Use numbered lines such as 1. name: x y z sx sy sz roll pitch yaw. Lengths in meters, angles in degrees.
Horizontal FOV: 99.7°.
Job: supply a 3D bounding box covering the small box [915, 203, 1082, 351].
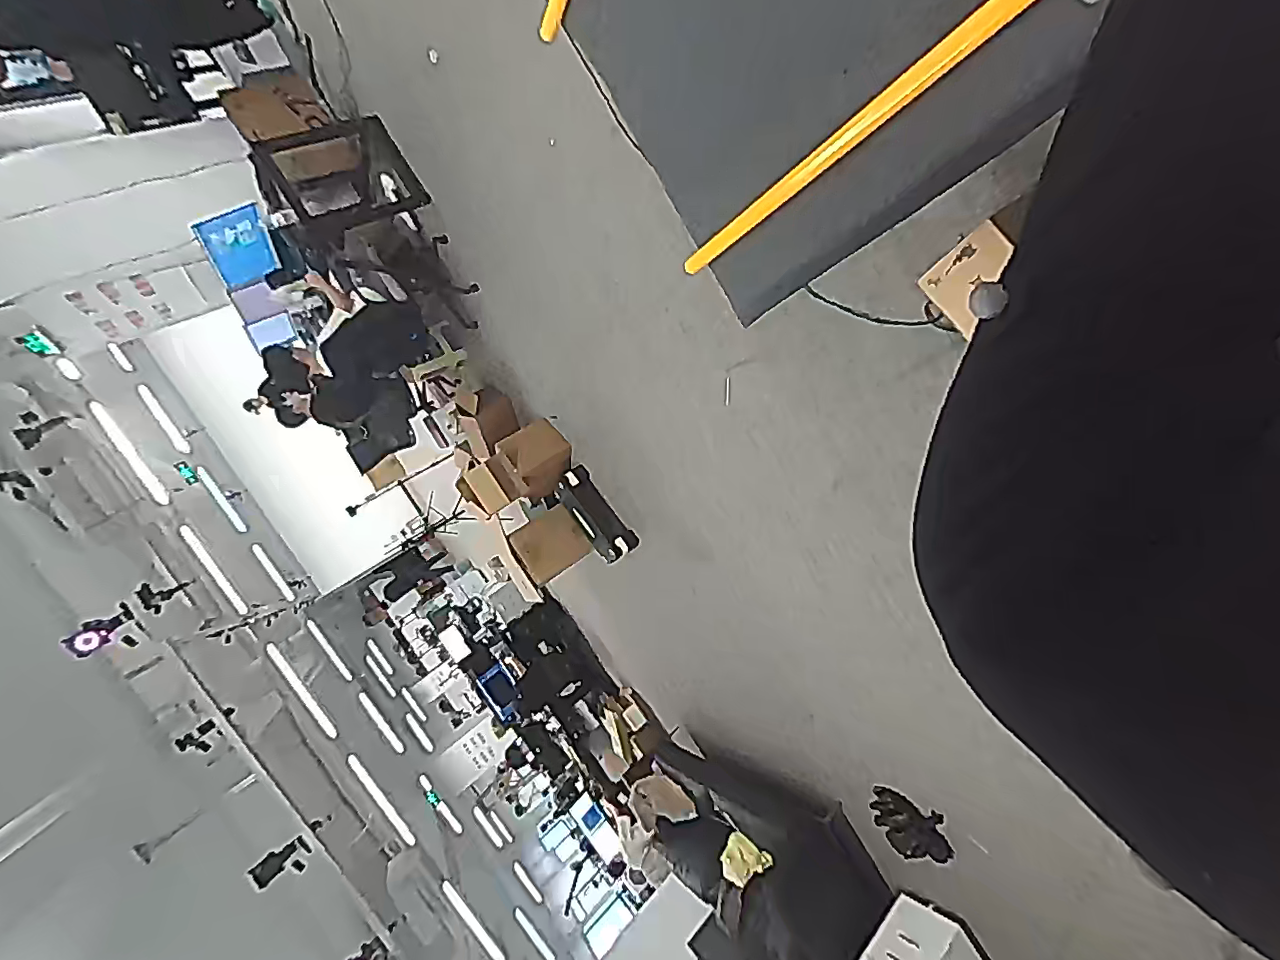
1. small box: 0.679 -0.386 1.026 0.179 0.176 0.168 52 155 8
